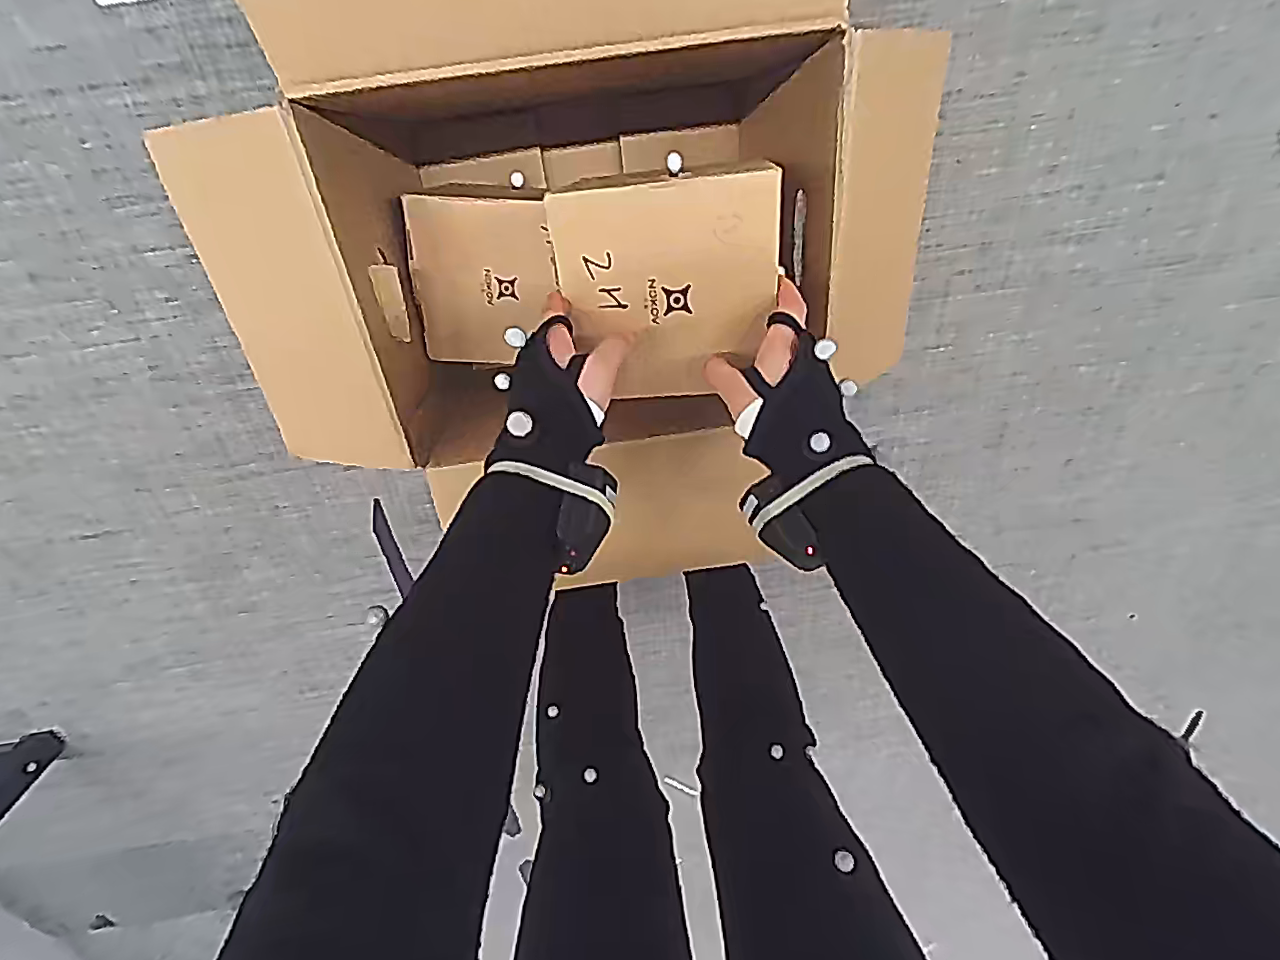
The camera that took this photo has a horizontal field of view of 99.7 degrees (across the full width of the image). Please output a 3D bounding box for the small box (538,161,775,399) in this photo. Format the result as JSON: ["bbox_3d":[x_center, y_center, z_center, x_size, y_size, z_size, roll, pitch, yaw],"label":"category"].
[{"bbox_3d":[0.024,-0.188,0.499,0.179,0.176,0.168,-2,123,8],"label":"small box"}]
